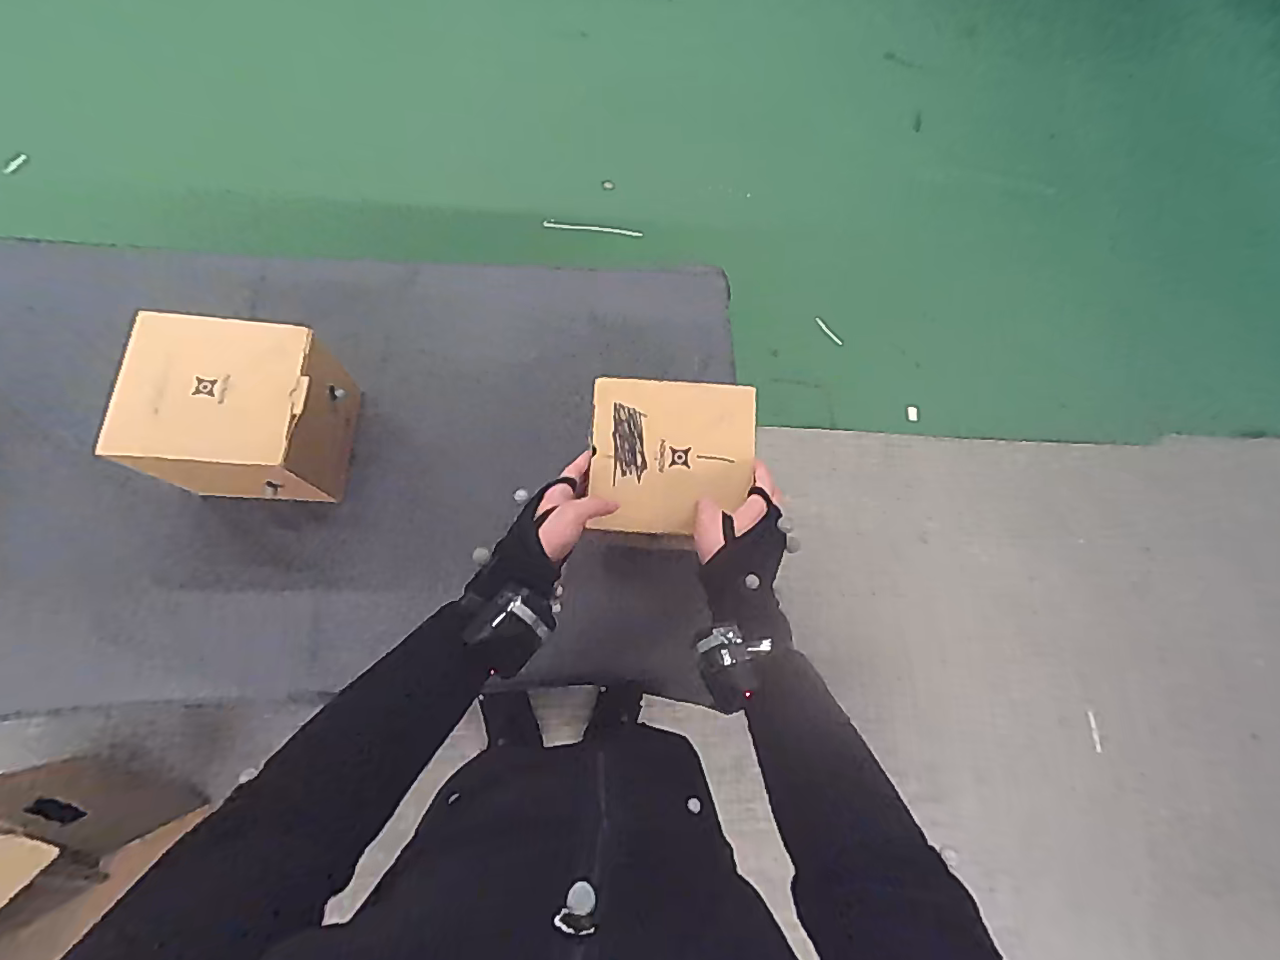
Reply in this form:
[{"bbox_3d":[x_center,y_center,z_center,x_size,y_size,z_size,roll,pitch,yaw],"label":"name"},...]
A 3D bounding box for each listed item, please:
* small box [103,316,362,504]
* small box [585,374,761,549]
[{"bbox_3d":[-0.459,-0.071,0.646,0.179,0.176,0.168,3,73,-6],"label":"small box"},{"bbox_3d":[0.037,-0.012,0.638,0.179,0.176,0.168,4,78,0],"label":"small box"}]
